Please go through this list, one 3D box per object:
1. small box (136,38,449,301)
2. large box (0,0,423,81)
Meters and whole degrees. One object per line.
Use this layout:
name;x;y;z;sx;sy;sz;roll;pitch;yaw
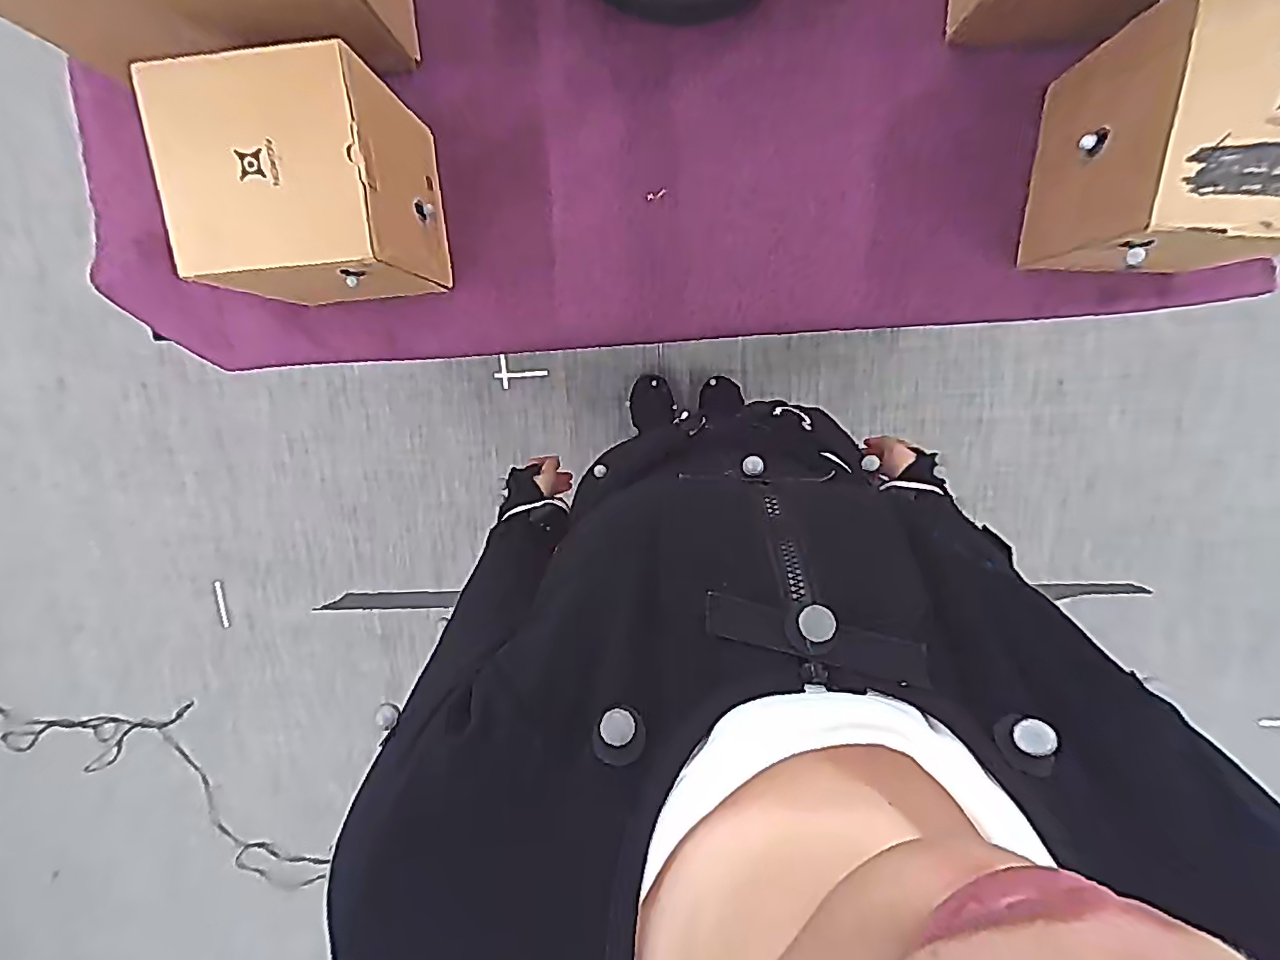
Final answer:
small box;-0.310;-0.274;0.521;0.179;0.176;0.168;-5;100;3
large box;-0.393;-0.585;0.387;0.320;0.320;0.408;-4;104;2
